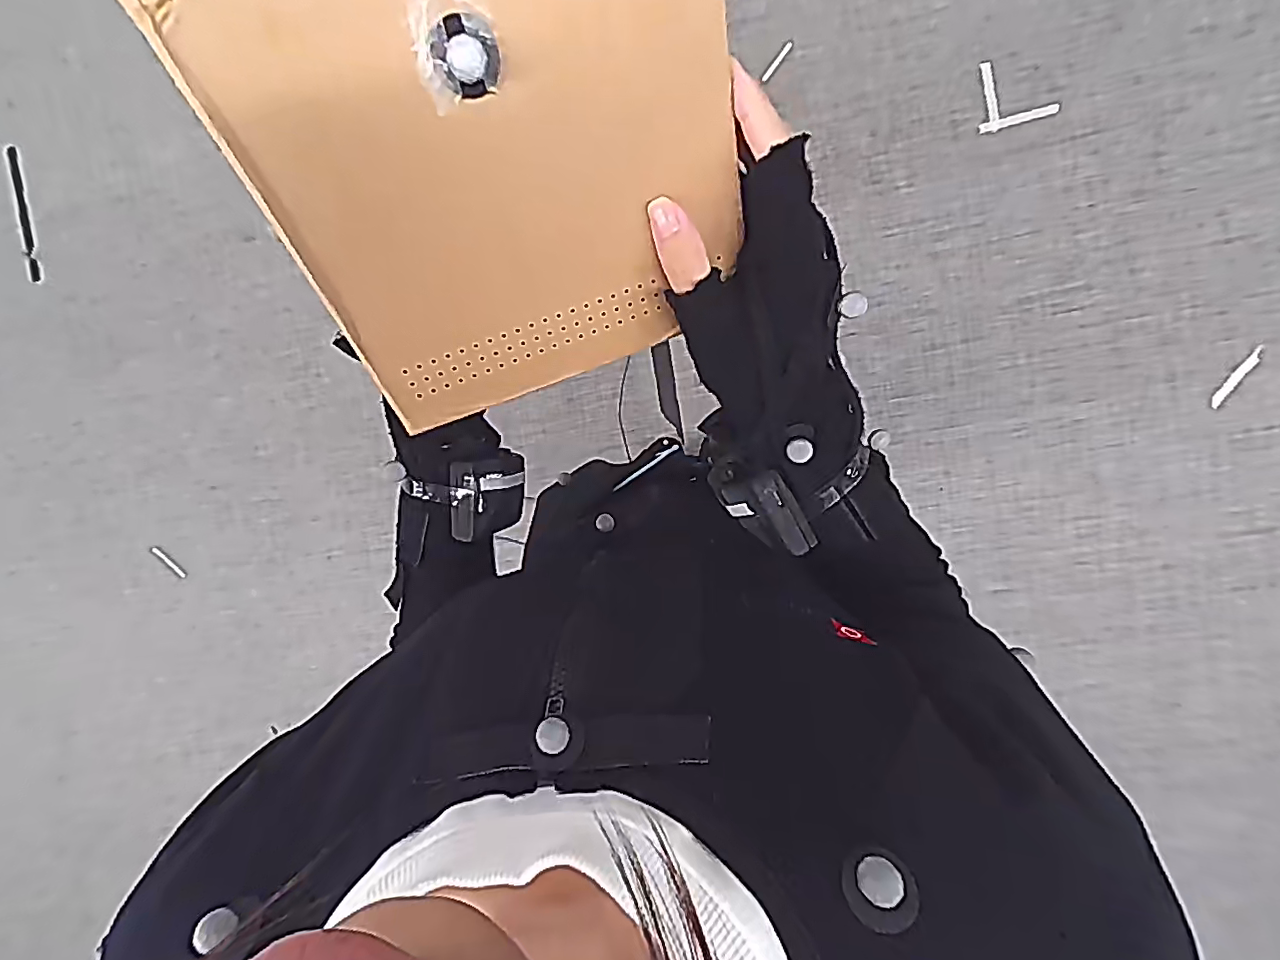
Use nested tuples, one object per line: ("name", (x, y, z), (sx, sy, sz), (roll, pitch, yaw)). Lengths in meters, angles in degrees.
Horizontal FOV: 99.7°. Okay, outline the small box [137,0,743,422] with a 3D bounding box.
("small box", (-0.064, -0.155, 0.266), (0.179, 0.168, 0.176), (-21, 134, -4))
